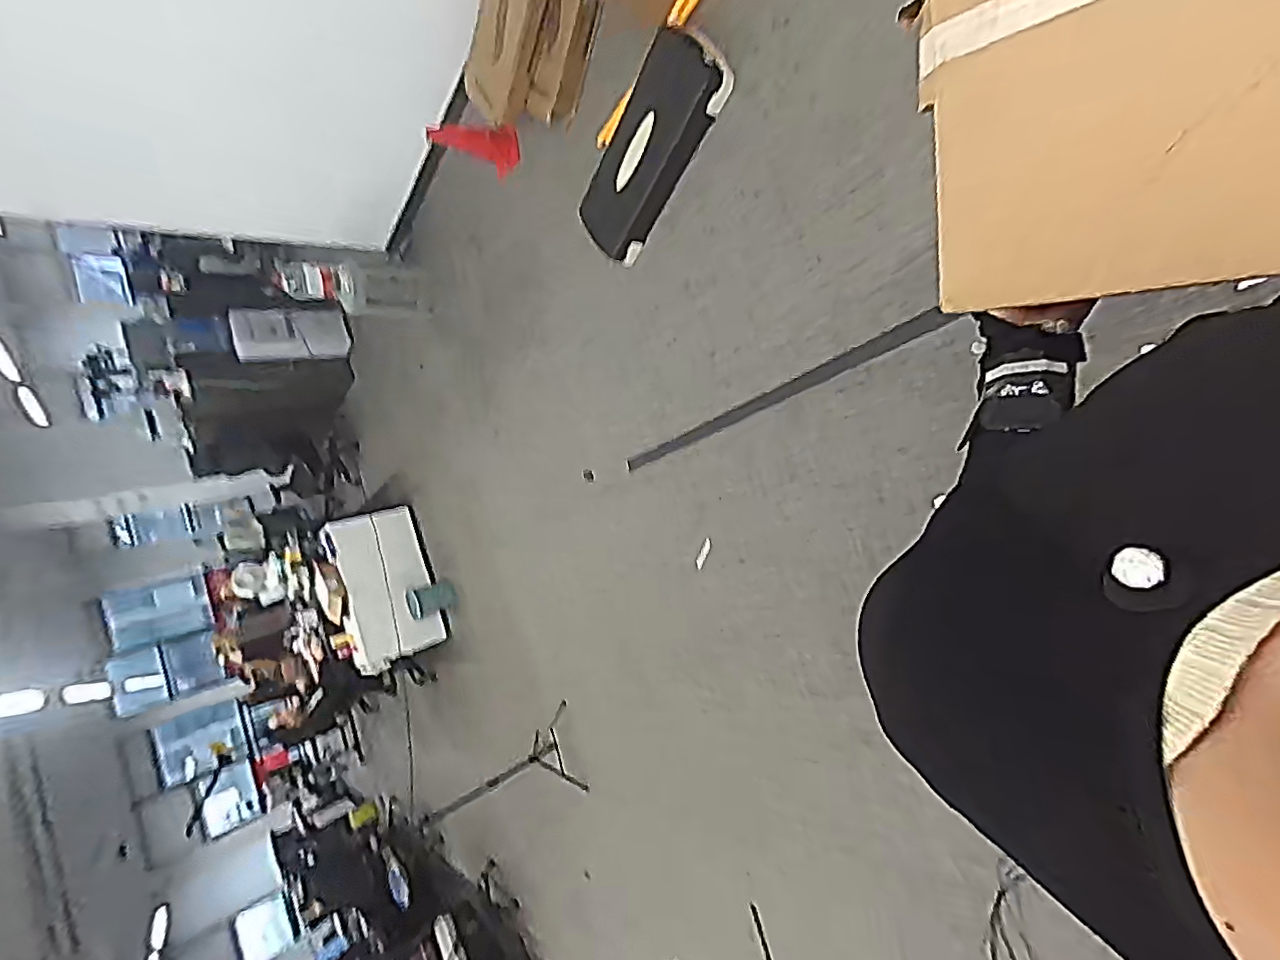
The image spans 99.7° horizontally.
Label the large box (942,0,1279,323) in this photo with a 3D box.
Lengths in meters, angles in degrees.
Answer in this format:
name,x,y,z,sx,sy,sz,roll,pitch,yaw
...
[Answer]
name,x,y,z,sx,sy,sz,roll,pitch,yaw
large box,0.425,-0.284,0.286,0.408,0.320,0.320,6,113,45
